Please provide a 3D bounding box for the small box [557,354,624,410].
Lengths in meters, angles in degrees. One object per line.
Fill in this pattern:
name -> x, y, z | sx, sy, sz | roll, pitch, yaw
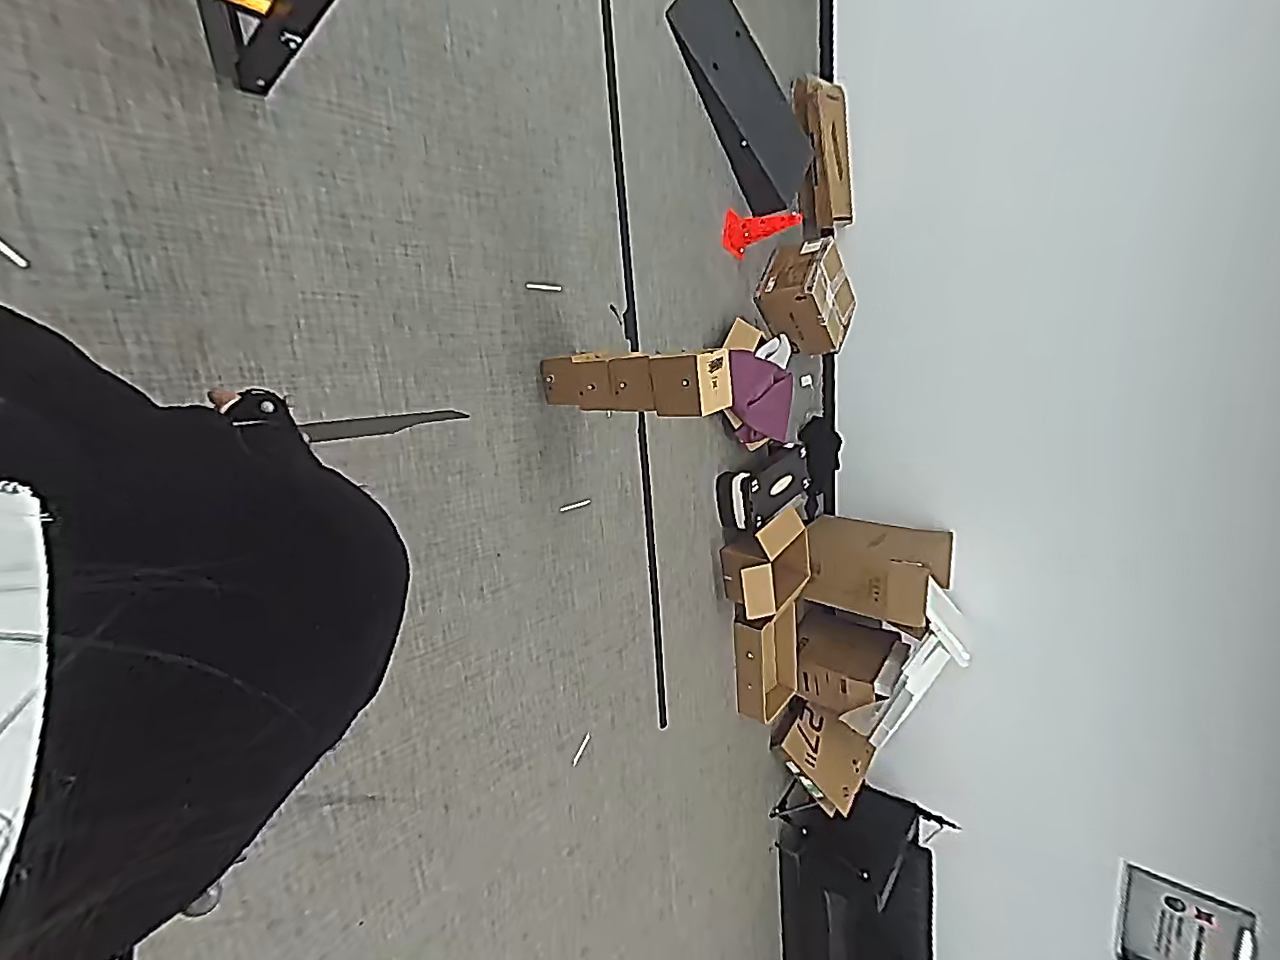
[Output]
small box -> -0.164, -0.345, 1.897 | 0.179, 0.176, 0.168 | -25, 113, -44

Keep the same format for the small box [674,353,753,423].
small box -> 0.215, -0.269, 1.587 | 0.168, 0.176, 0.179 | -25, 114, -45

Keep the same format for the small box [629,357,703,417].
small box -> 0.089, -0.291, 1.691 | 0.179, 0.176, 0.168 | -21, 109, -46

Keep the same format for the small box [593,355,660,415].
small box -> -0.039, -0.313, 1.794 | 0.179, 0.176, 0.168 | -27, 114, -44
